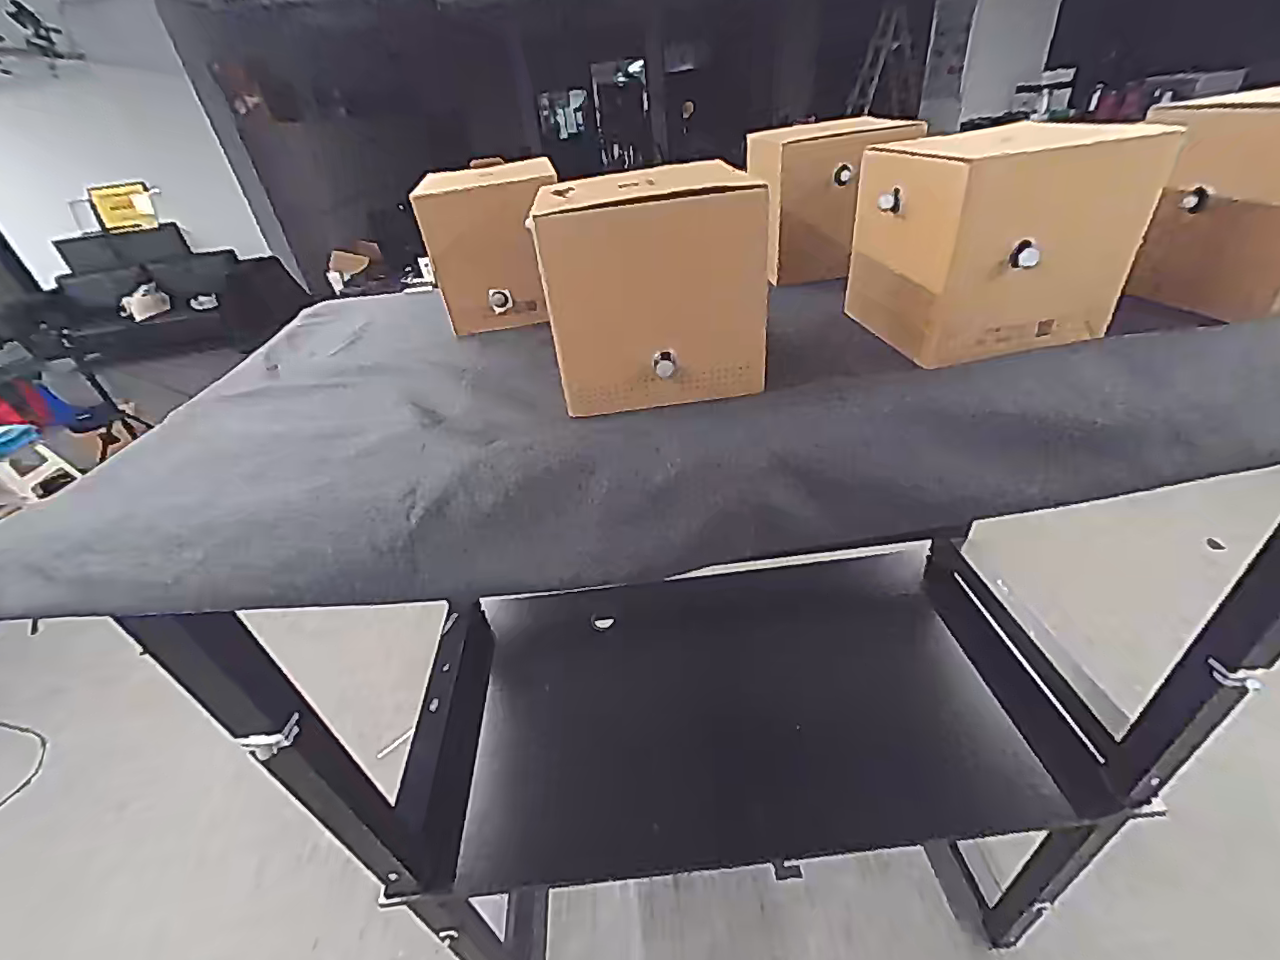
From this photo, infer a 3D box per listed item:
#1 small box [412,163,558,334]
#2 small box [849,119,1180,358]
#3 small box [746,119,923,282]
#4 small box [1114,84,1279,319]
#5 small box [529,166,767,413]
[{"bbox_3d":[-0.179,-0.309,0.718,0.168,0.176,0.179,-12,35,-5],"label":"small box"},{"bbox_3d":[0.313,-0.221,0.502,0.168,0.176,0.179,-9,34,-2],"label":"small box"},{"bbox_3d":[0.248,-0.379,0.735,0.179,0.176,0.168,-7,36,0],"label":"small box"},{"bbox_3d":[0.586,-0.256,0.494,0.168,0.176,0.179,-11,34,-4],"label":"small box"},{"bbox_3d":[0.006,-0.177,0.497,0.179,0.176,0.168,-8,34,-1],"label":"small box"}]
